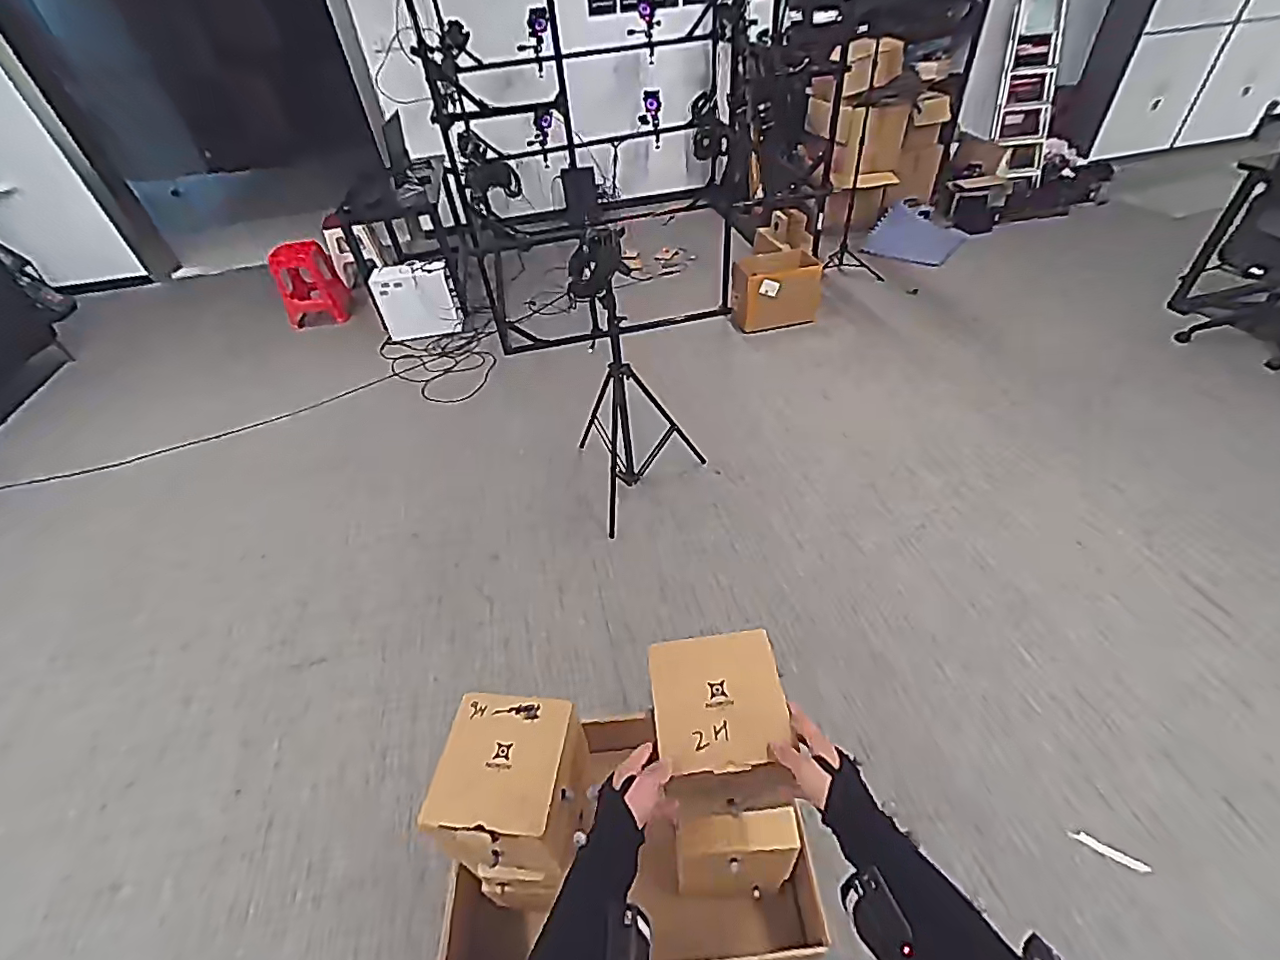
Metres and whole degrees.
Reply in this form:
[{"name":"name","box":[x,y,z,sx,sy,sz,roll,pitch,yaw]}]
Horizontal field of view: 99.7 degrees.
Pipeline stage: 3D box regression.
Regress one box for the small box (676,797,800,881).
[{"name":"small box","box":[0.146,0.532,0.878,0.179,0.176,0.168,-5,41,3]}]

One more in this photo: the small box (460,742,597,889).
[{"name":"small box","box":[-0.169,0.551,0.892,0.168,0.176,0.179,-1,42,6]}]

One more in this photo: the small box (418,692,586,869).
[{"name":"small box","box":[-0.181,0.433,0.777,0.168,0.176,0.179,2,43,8]}]

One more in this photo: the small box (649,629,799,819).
[{"name":"small box","box":[0.106,0.331,0.735,0.168,0.176,0.179,-8,43,2]}]
